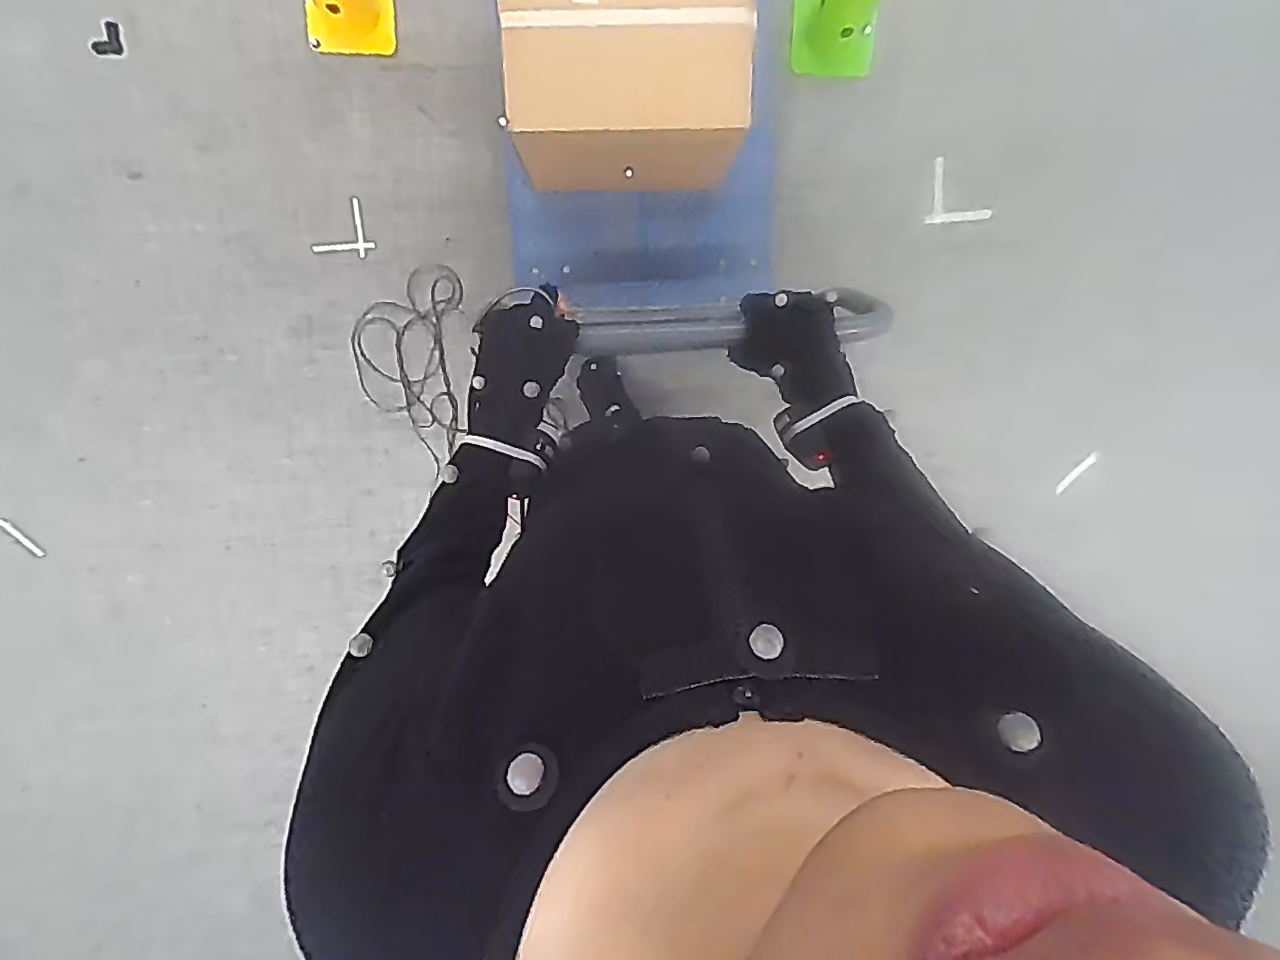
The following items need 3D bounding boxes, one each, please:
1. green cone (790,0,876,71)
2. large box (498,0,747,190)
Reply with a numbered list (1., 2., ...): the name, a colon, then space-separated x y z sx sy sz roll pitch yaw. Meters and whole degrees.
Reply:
1. green cone: 0.468 -1.056 1.117 0.202 0.368 0.200 1 101 -4
2. large box: -0.027 -0.758 1.011 0.408 0.320 0.320 -2 101 -1
